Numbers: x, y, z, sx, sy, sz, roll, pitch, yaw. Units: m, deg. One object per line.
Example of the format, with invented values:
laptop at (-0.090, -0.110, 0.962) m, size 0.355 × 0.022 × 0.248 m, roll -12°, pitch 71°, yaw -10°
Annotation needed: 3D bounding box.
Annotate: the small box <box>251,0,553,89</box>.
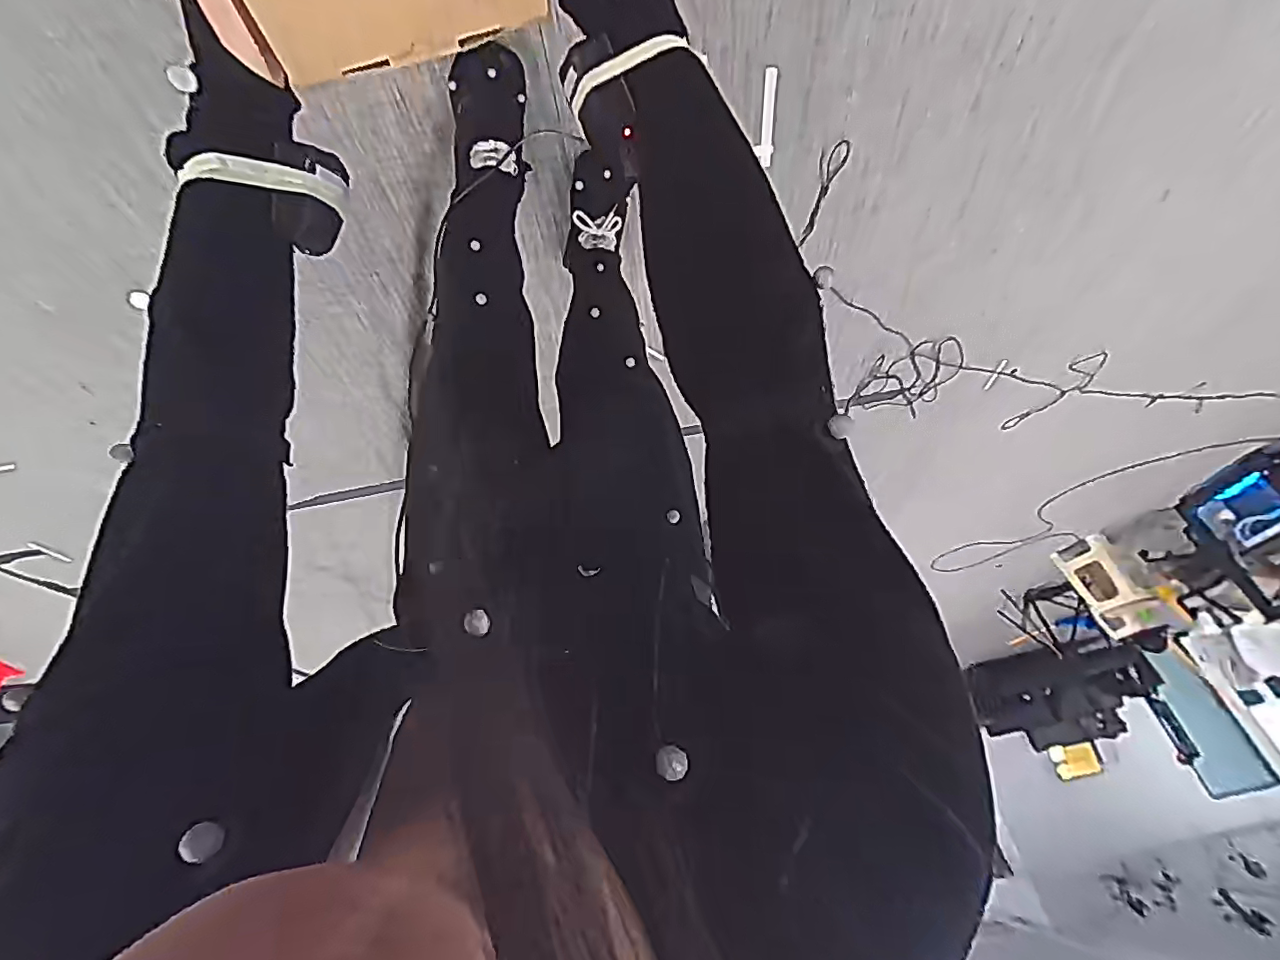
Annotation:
small box at (-0.157, -0.371, 0.309) m, size 0.168 × 0.176 × 0.179 m, roll -15°, pitch 143°, yaw 2°
